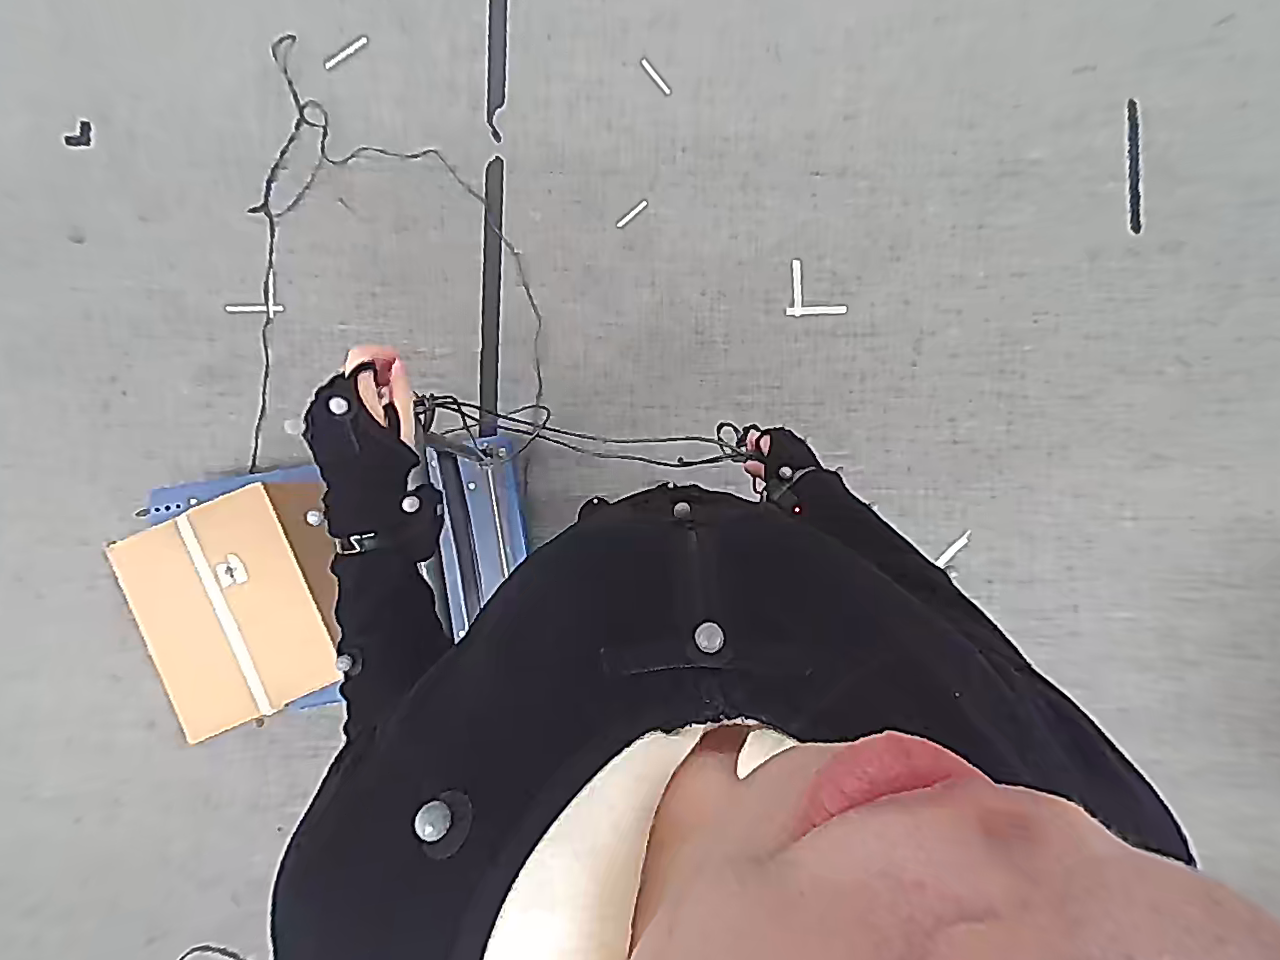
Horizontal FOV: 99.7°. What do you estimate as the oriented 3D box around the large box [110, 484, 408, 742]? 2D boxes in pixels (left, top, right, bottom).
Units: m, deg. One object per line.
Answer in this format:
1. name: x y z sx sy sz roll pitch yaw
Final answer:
1. large box: -0.769 0.251 1.154 0.320 0.320 0.408 -24 89 -3
